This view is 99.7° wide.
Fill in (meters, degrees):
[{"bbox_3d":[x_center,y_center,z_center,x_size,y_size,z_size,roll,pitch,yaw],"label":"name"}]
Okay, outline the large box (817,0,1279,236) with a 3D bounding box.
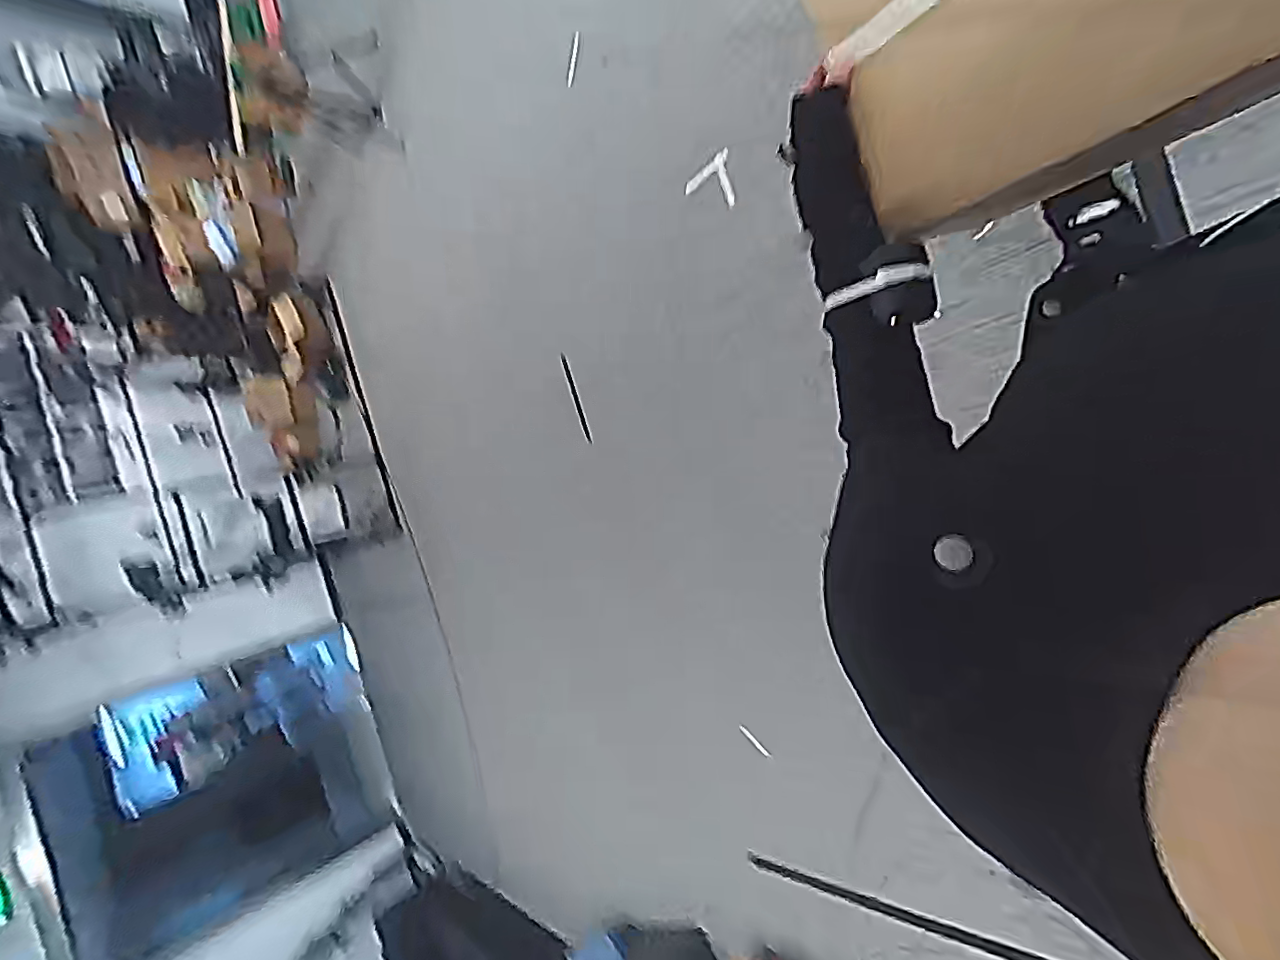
[{"bbox_3d":[0.400,-0.443,0.434,0.408,0.320,0.320,-15,100,45],"label":"large box"}]
